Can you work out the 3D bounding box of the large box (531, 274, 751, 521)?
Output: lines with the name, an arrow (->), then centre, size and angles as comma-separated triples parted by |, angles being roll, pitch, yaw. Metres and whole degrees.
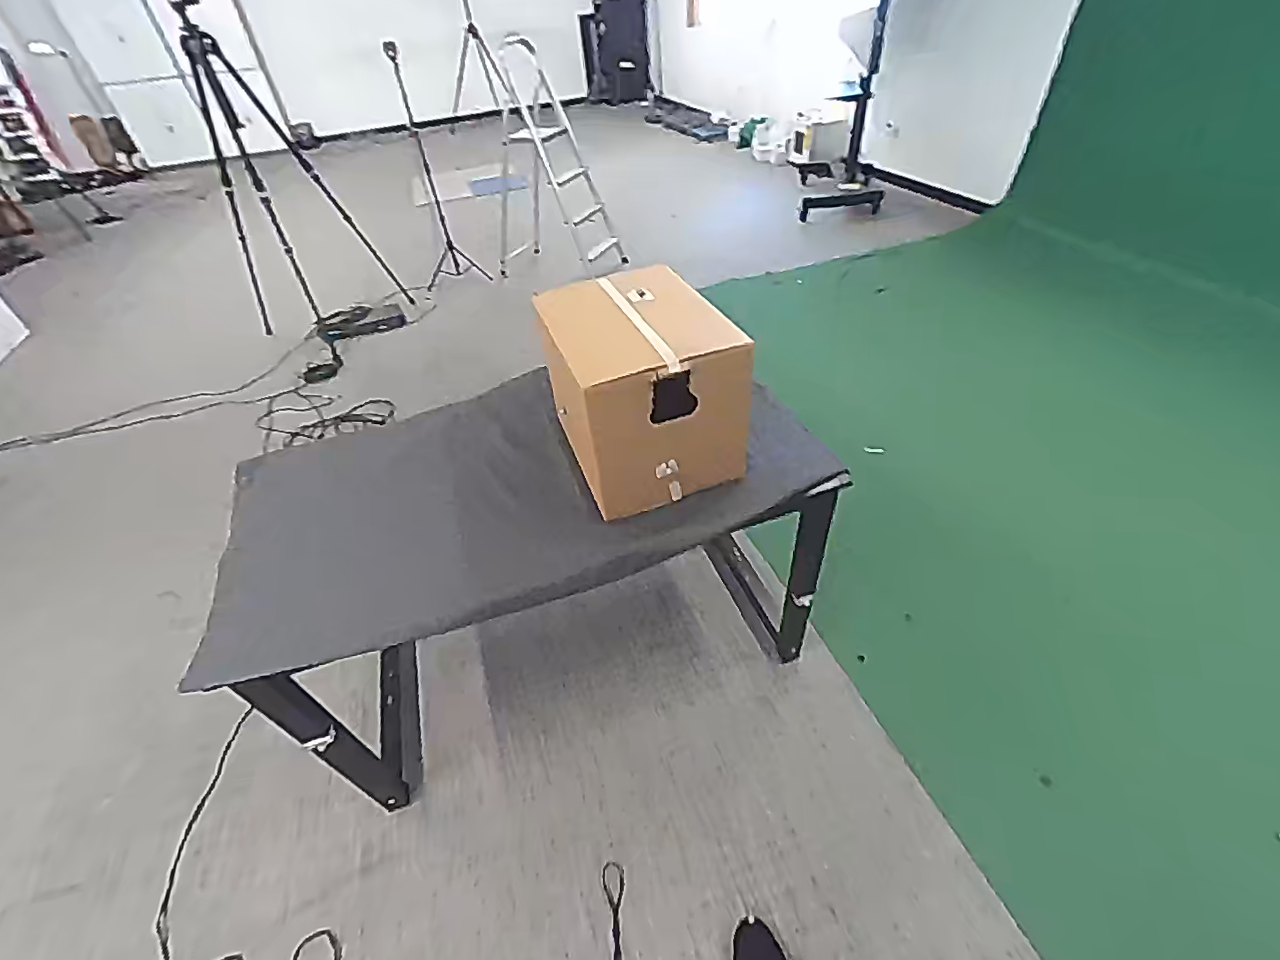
large box -> -0.003, -0.185, 1.129 | 0.320, 0.320, 0.408 | -17, 42, -12
